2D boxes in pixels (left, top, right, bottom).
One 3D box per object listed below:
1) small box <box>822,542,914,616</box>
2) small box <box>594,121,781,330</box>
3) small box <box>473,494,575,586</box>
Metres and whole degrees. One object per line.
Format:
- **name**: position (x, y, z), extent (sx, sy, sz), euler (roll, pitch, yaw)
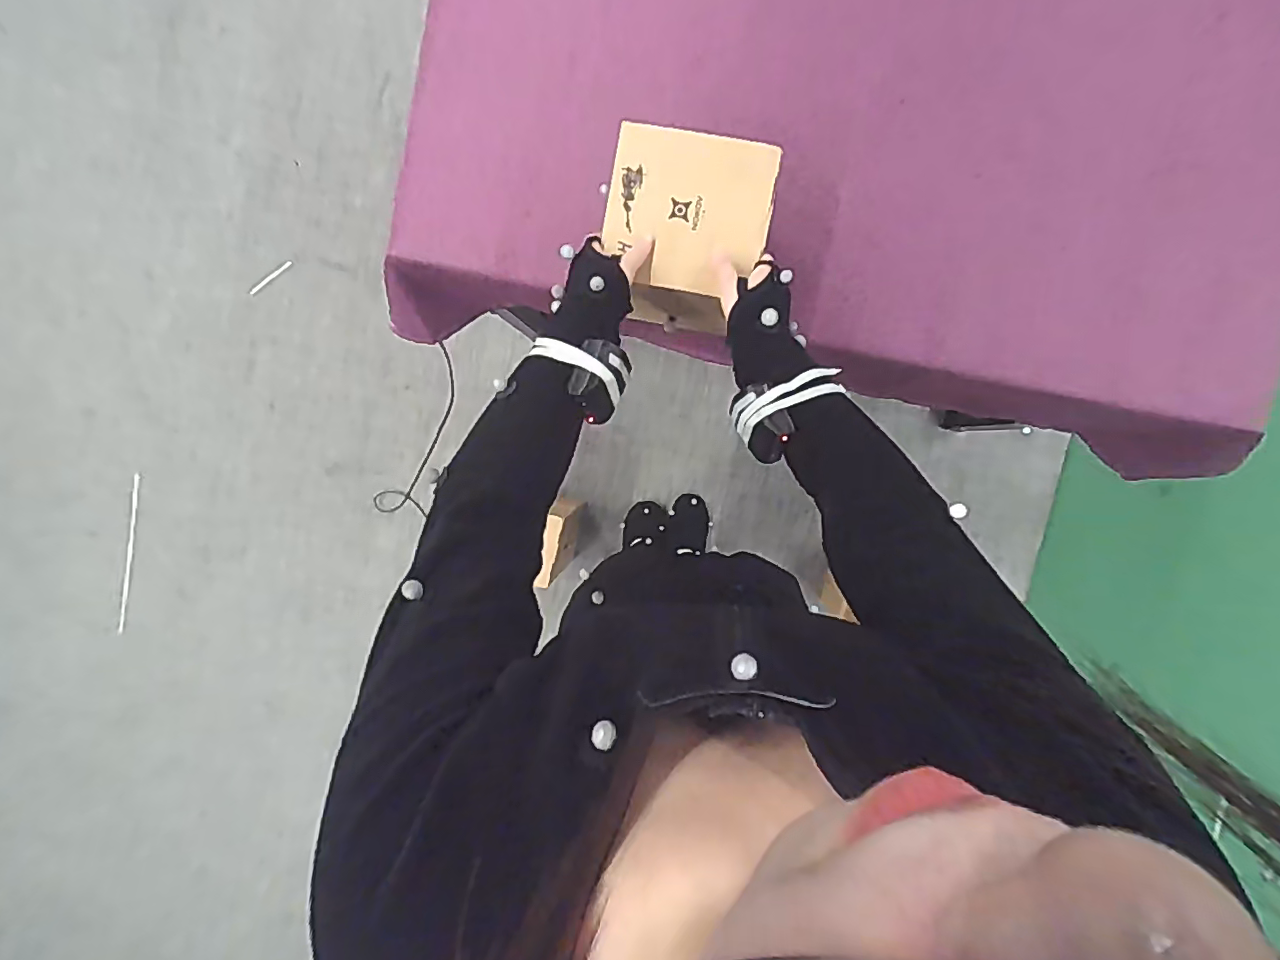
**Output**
- **small box**: position (0.592, 0.264, 1.407), extent (0.179, 0.176, 0.168), euler (10, 95, 1)
- **small box**: position (0.051, -0.290, 0.657), extent (0.179, 0.176, 0.168), euler (11, 93, 1)
- **small box**: position (-0.265, 0.132, 1.270), extent (0.179, 0.176, 0.168), euler (14, 94, 1)
